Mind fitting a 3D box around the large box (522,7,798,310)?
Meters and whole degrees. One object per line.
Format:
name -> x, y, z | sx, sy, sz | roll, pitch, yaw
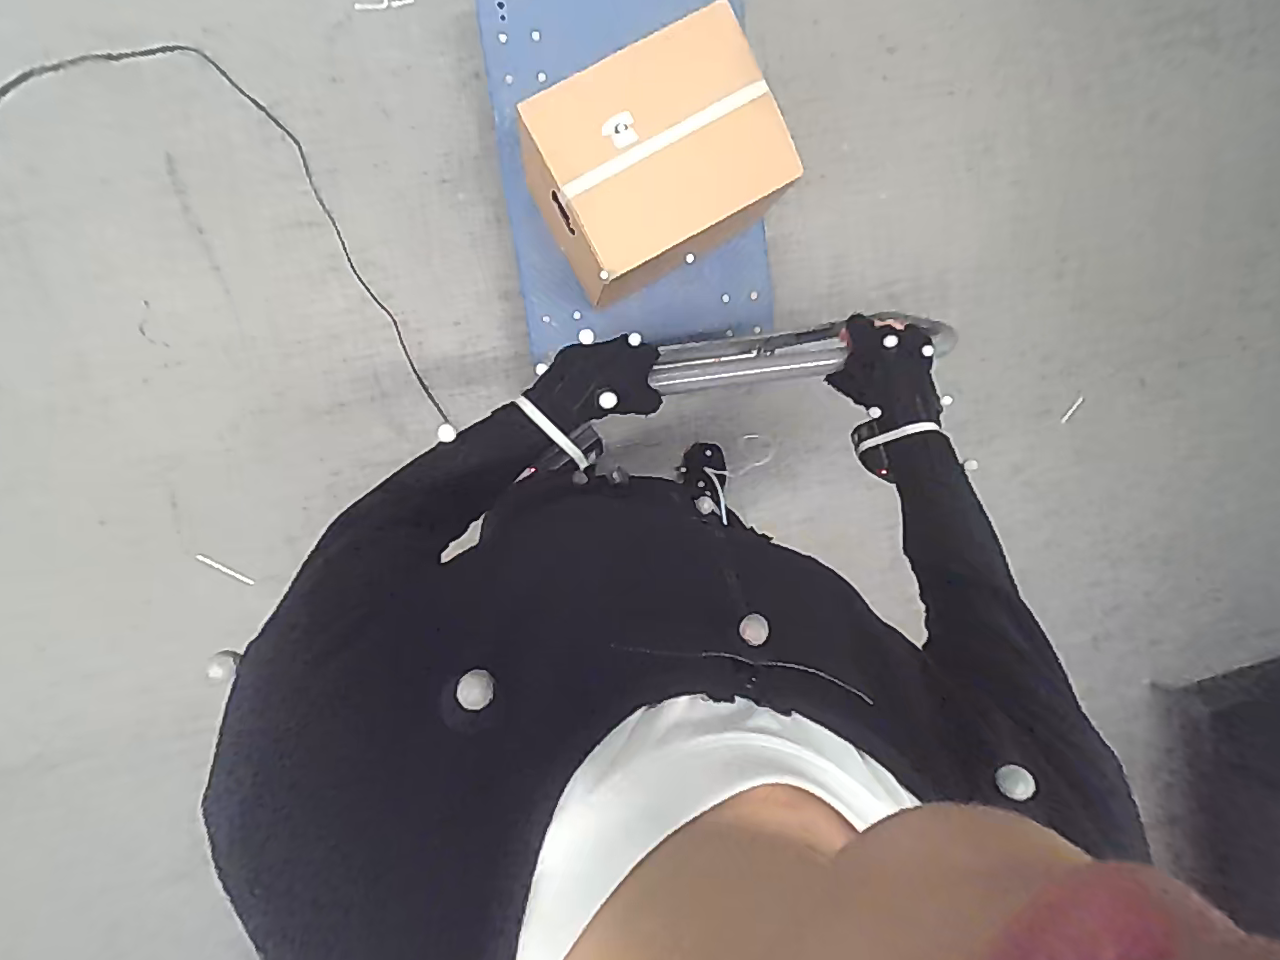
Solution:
large box -> 0.025, -0.594, 1.078 | 0.408, 0.320, 0.320 | -30, 100, -3
